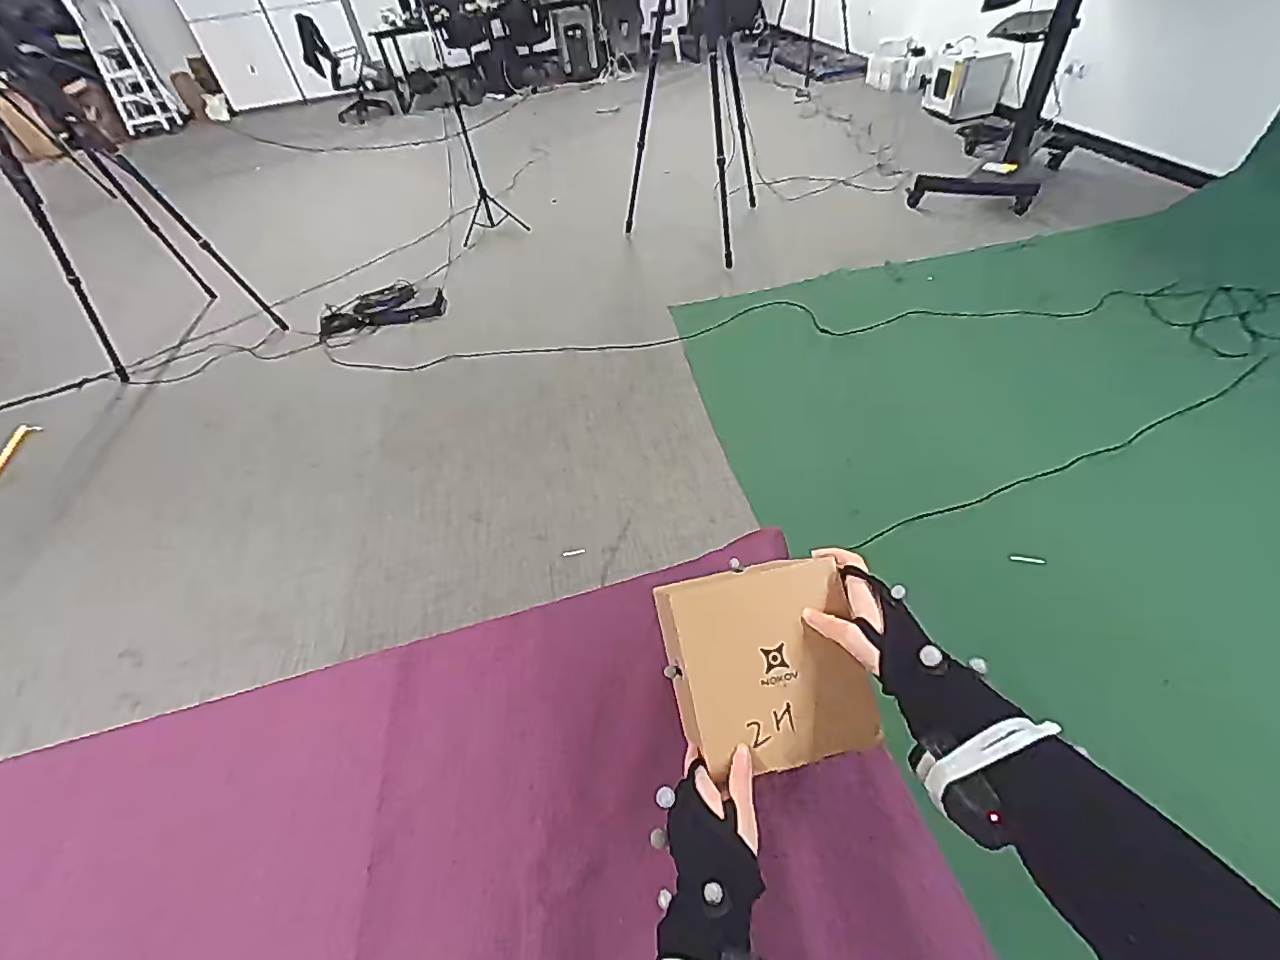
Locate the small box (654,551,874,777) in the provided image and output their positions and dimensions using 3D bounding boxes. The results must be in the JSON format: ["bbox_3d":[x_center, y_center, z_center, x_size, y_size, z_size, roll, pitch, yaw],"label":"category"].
[{"bbox_3d":[0.114,0.181,0.579,0.168,0.176,0.179,-11,81,-5],"label":"small box"}]
